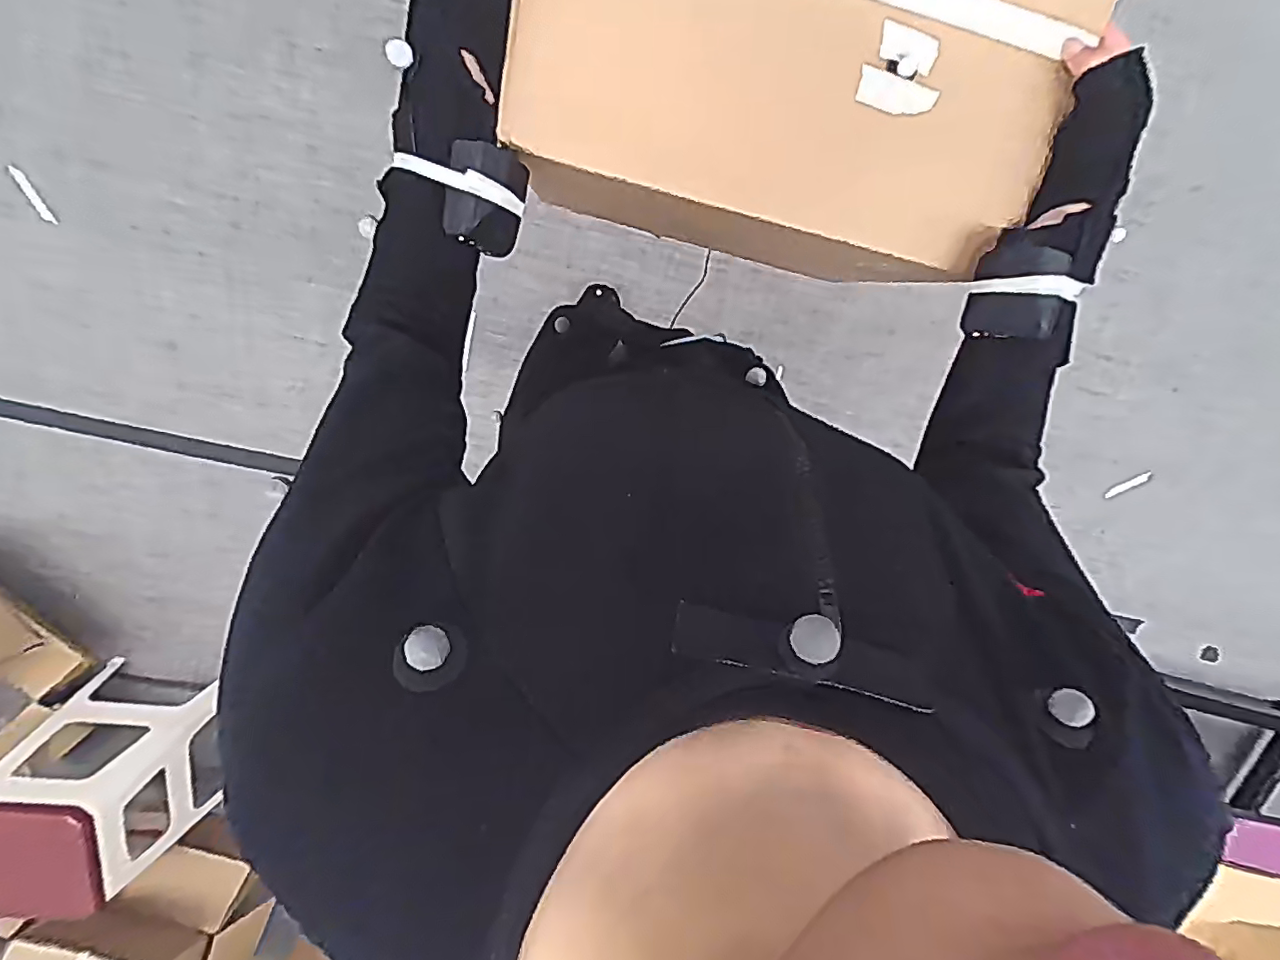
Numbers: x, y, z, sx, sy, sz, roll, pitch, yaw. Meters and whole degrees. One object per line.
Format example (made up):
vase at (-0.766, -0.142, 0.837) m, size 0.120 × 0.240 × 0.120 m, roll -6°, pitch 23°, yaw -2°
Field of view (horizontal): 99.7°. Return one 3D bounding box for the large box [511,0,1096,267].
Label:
large box at (0.114, -0.406, 0.508) m, size 0.408 × 0.320 × 0.320 m, roll 11°, pitch 110°, yaw -10°
